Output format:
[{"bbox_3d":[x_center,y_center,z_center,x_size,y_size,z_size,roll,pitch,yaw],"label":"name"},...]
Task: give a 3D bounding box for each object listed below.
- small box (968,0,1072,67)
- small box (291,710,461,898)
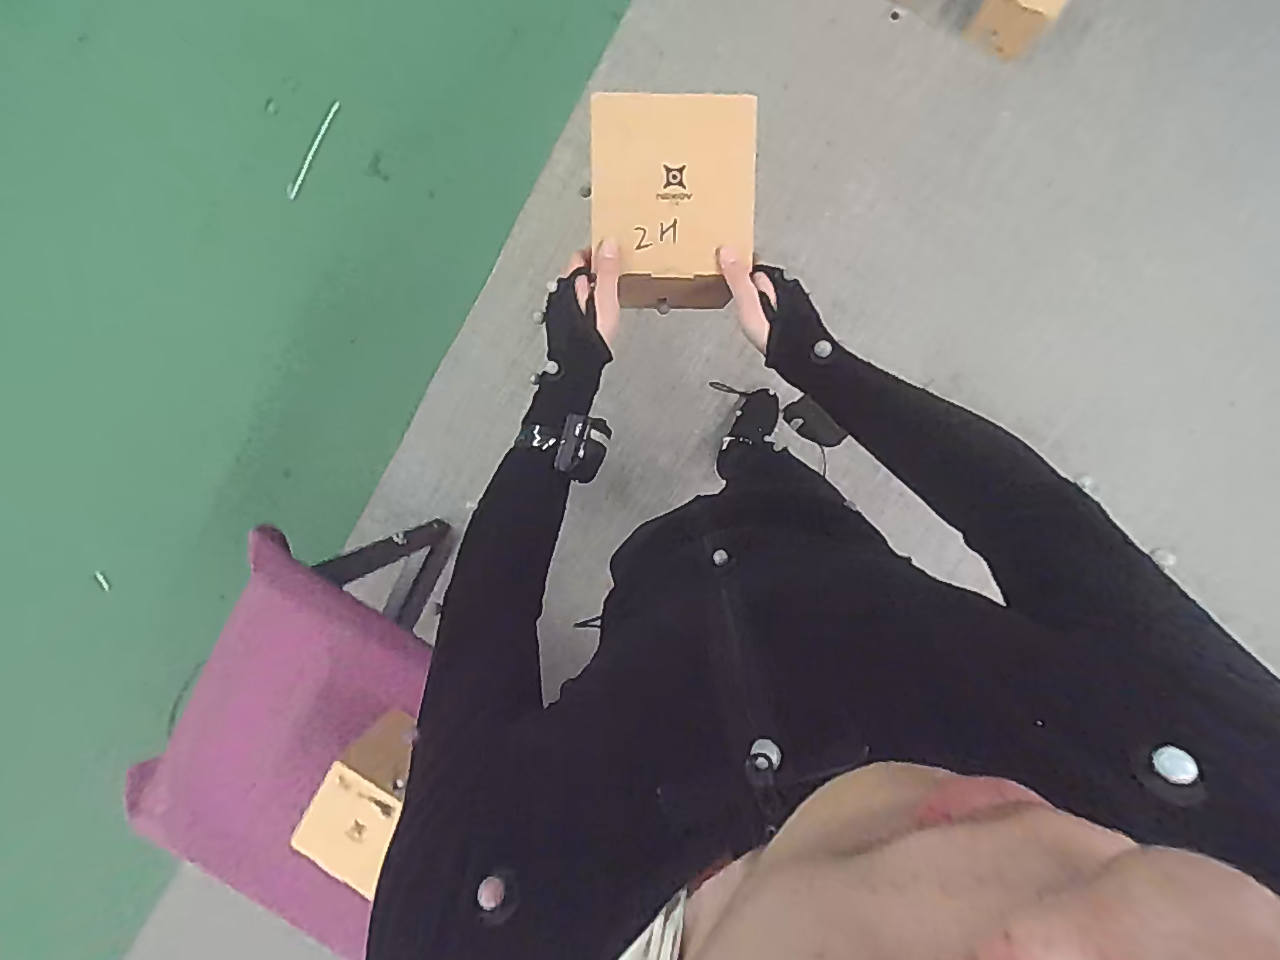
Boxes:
[{"bbox_3d":[0.961,-1.193,1.342,0.168,0.176,0.179,30,99,3],"label":"small box"},{"bbox_3d":[-0.437,0.540,0.924,0.168,0.176,0.179,32,99,2],"label":"small box"}]
